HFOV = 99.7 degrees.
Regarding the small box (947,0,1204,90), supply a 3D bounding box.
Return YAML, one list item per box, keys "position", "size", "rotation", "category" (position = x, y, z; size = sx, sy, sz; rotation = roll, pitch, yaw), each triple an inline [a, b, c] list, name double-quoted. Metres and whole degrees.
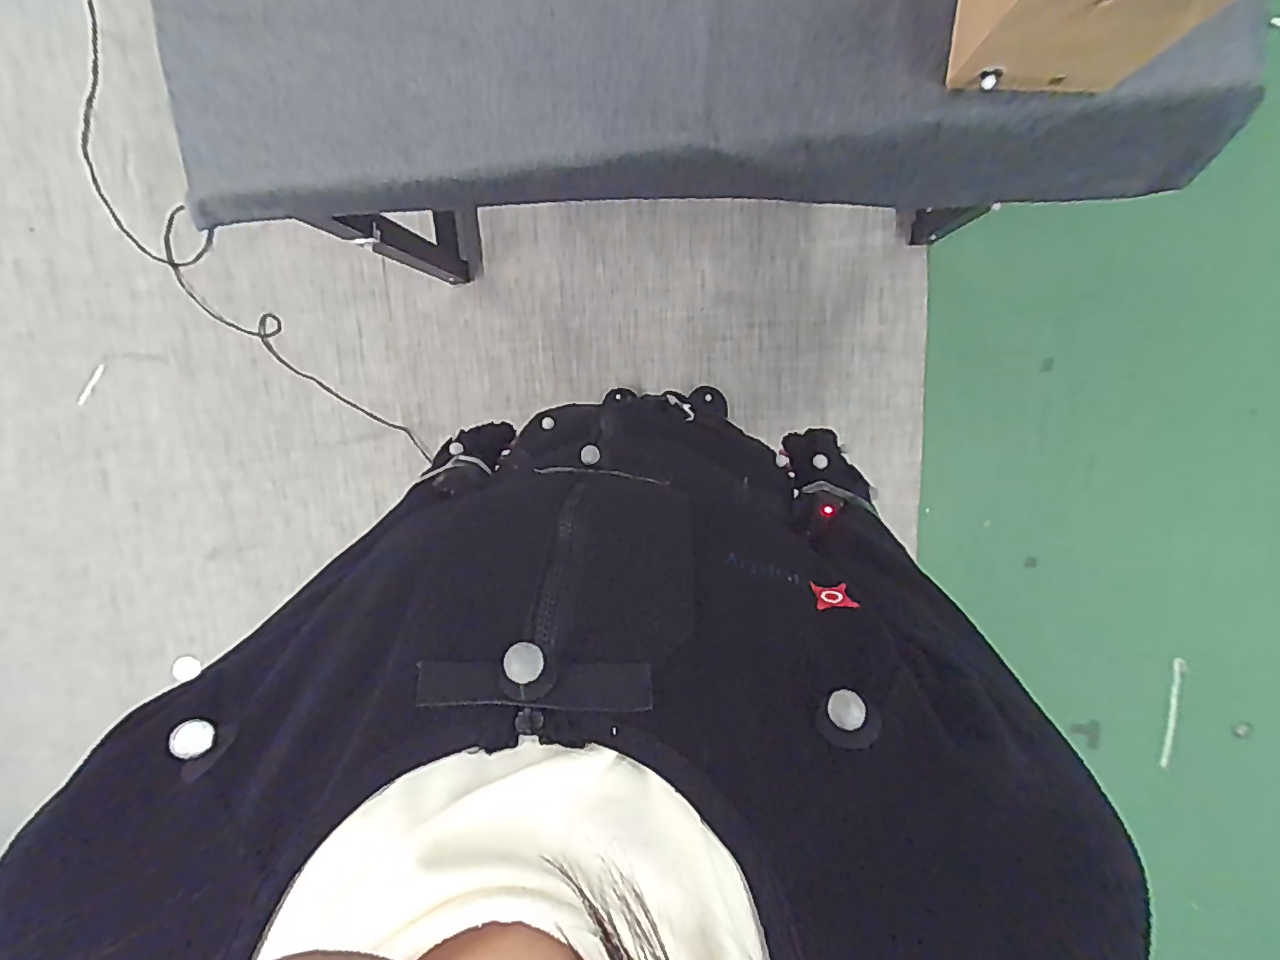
- position: [0.410, -0.494, 0.494]
  size: [0.168, 0.176, 0.179]
  rotation: [5, 99, 4]
  category: "small box"
